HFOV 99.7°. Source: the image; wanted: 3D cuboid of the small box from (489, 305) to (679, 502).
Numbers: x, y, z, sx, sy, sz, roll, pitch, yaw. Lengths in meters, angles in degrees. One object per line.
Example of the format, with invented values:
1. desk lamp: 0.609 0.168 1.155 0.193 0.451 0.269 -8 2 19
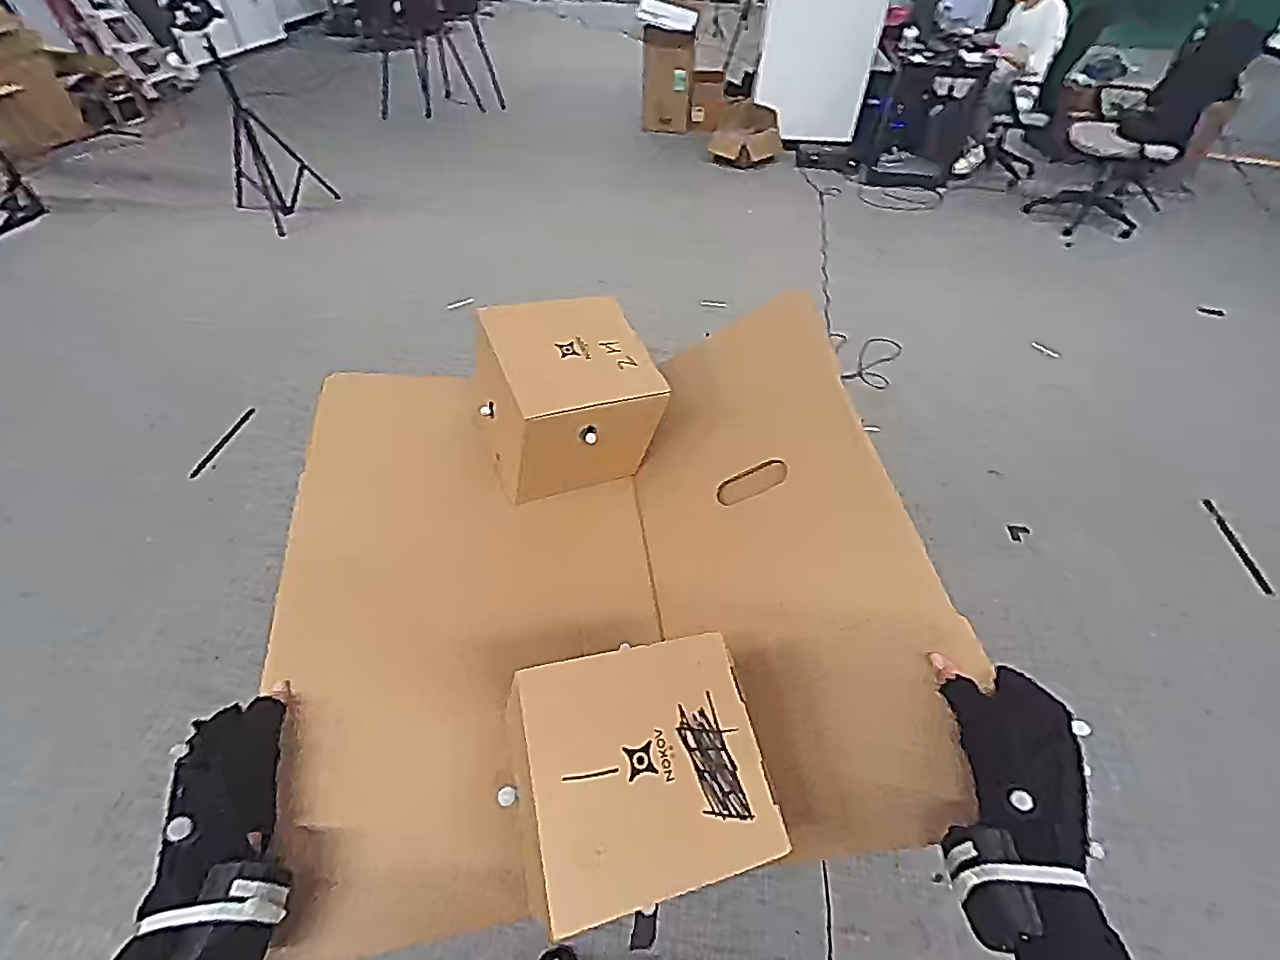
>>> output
1. small box: -0.081 -0.092 0.672 0.179 0.176 0.168 -13 62 -25
